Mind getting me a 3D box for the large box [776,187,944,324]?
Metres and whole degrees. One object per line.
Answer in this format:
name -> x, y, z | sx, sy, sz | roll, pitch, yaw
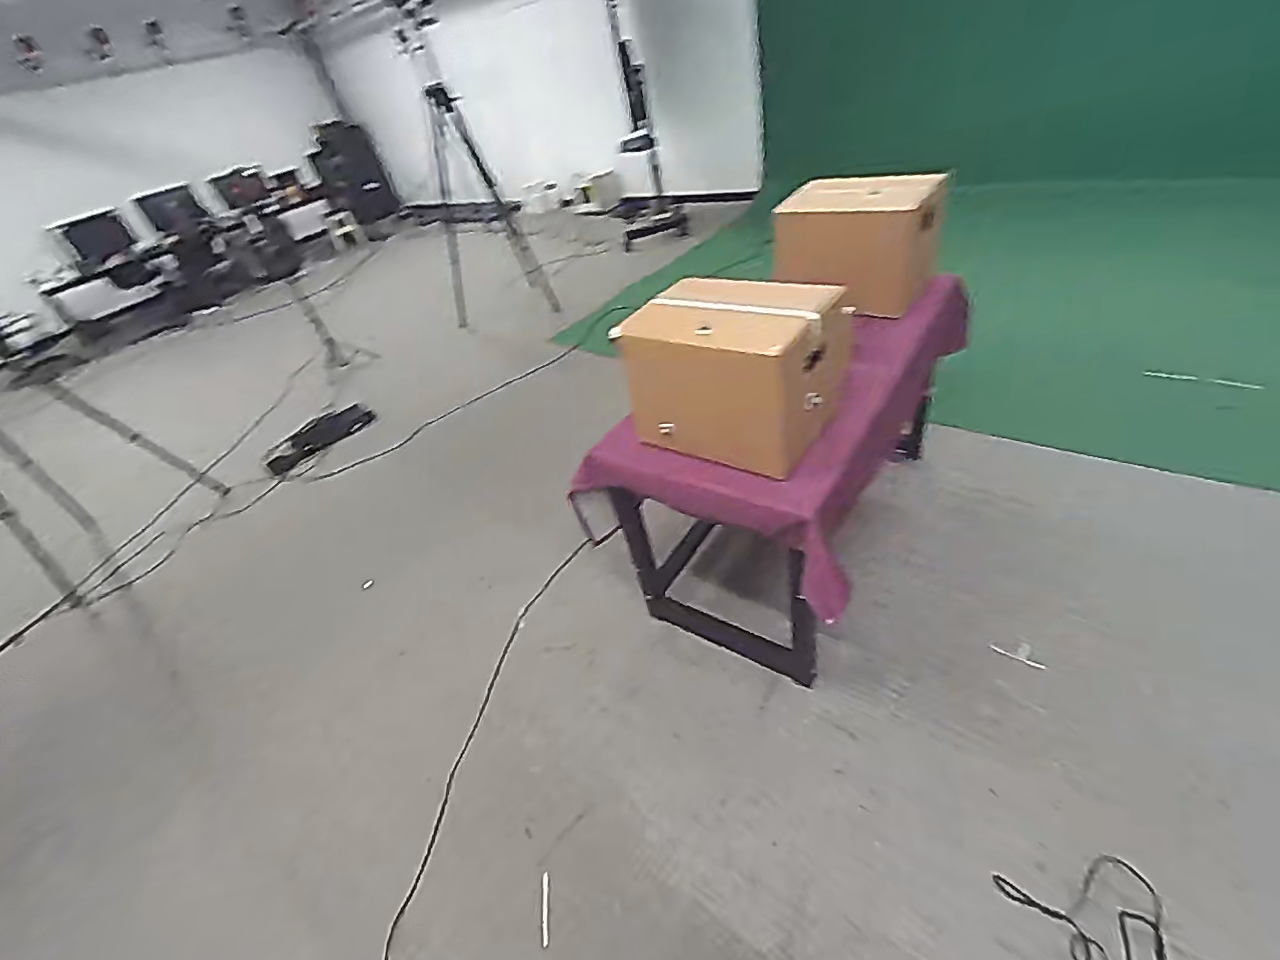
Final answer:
large box -> 0.682, -0.721, 1.723 | 0.408, 0.320, 0.320 | 20, 50, 34
